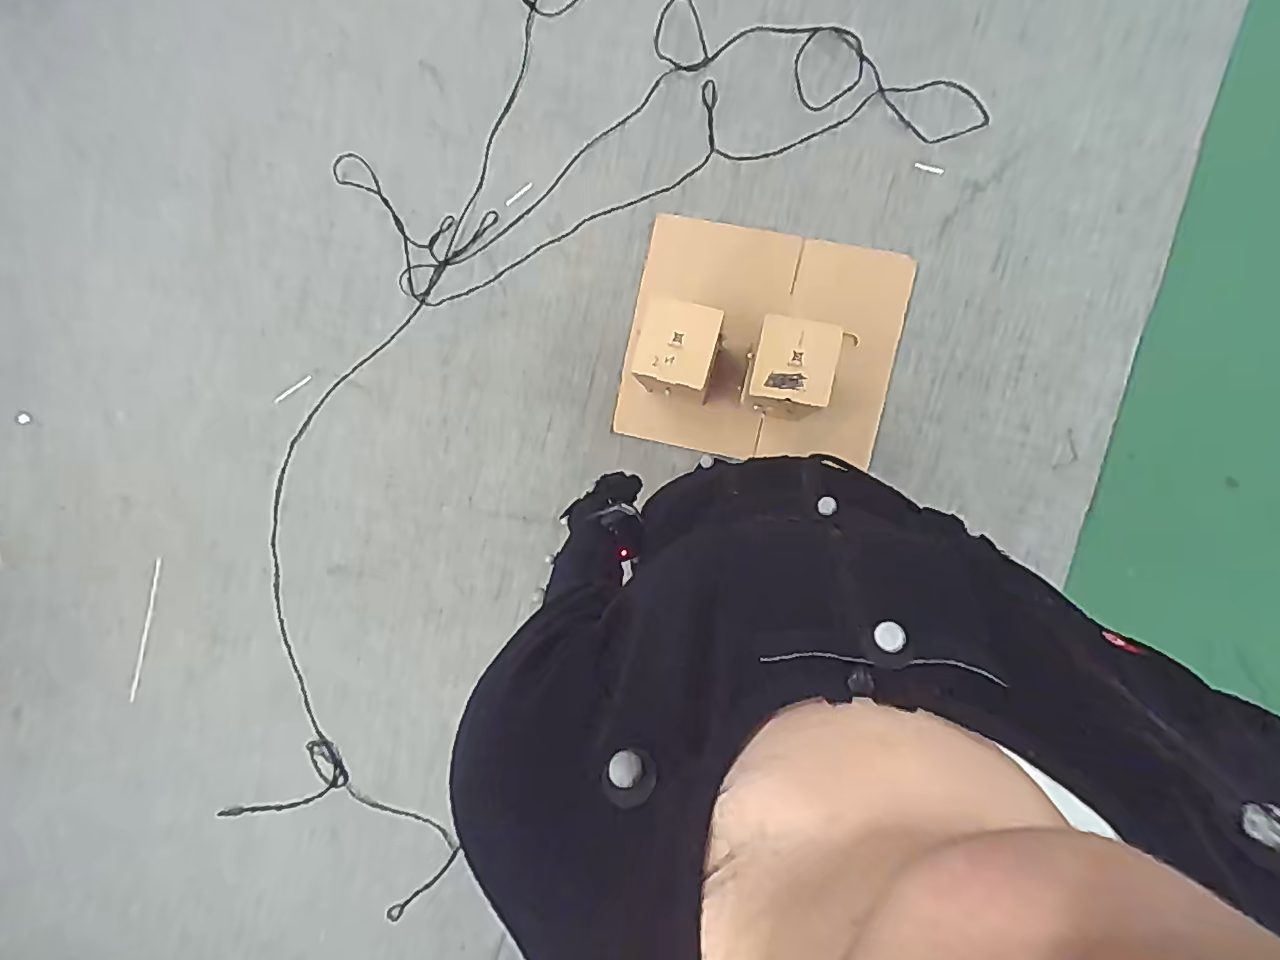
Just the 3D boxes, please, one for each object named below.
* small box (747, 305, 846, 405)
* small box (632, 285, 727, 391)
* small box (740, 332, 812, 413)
[{"bbox_3d":[0.335,-0.267,1.195,0.168,0.176,0.179,12,94,6],"label":"small box"},{"bbox_3d":[0.092,-0.312,1.220,0.168,0.176,0.179,16,95,7],"label":"small box"},{"bbox_3d":[0.352,-0.273,1.359,0.168,0.176,0.179,12,95,6],"label":"small box"}]
